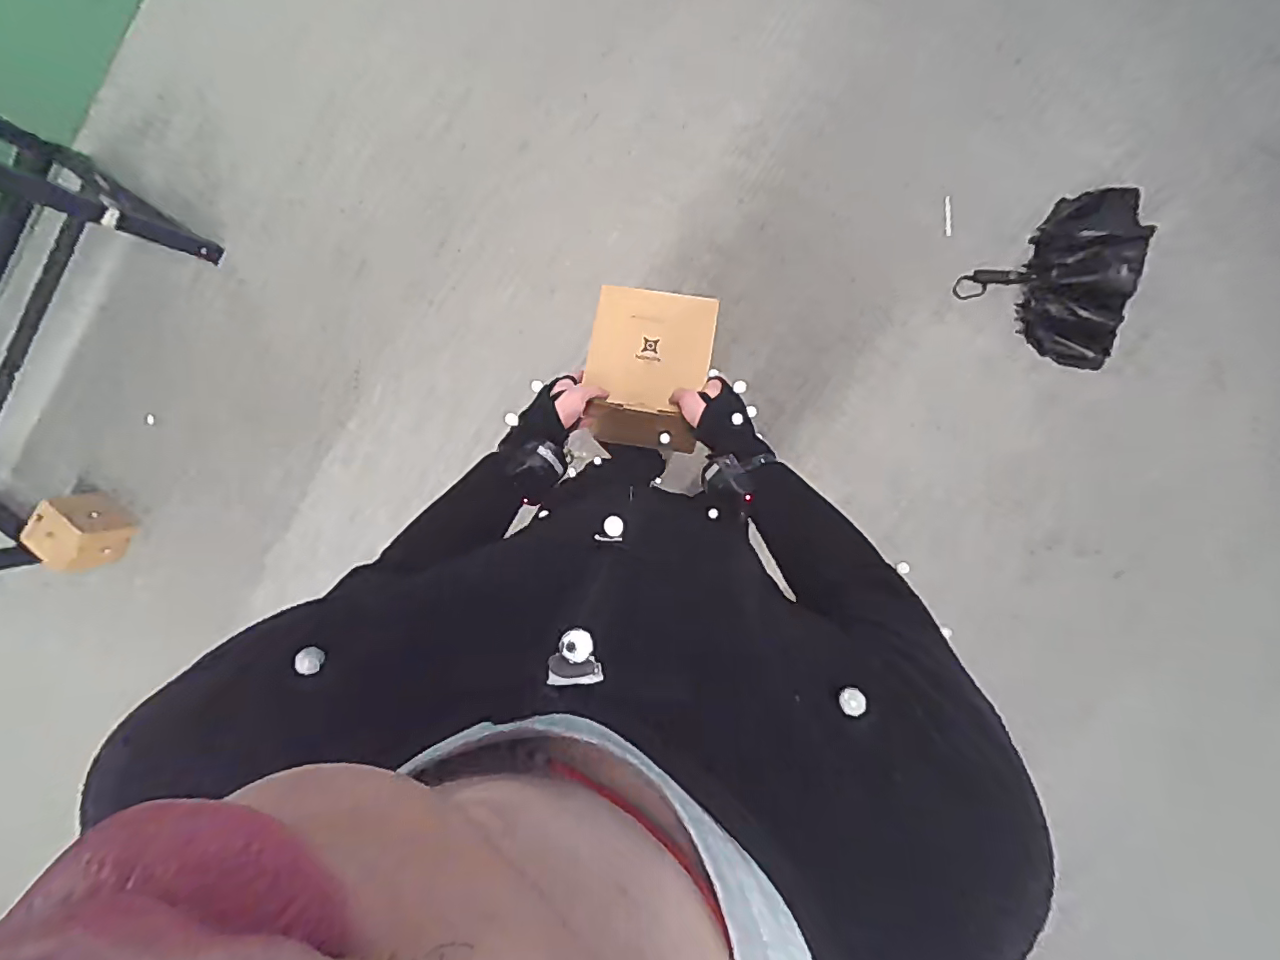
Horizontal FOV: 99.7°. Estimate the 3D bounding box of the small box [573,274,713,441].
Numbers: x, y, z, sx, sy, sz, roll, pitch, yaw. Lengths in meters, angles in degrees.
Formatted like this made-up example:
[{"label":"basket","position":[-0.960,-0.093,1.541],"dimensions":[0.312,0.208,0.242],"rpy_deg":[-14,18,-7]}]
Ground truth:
[{"label":"small box","position":[0.009,-0.169,0.792],"dimensions":[0.168,0.176,0.179],"rpy_deg":[9,76,4]}]
